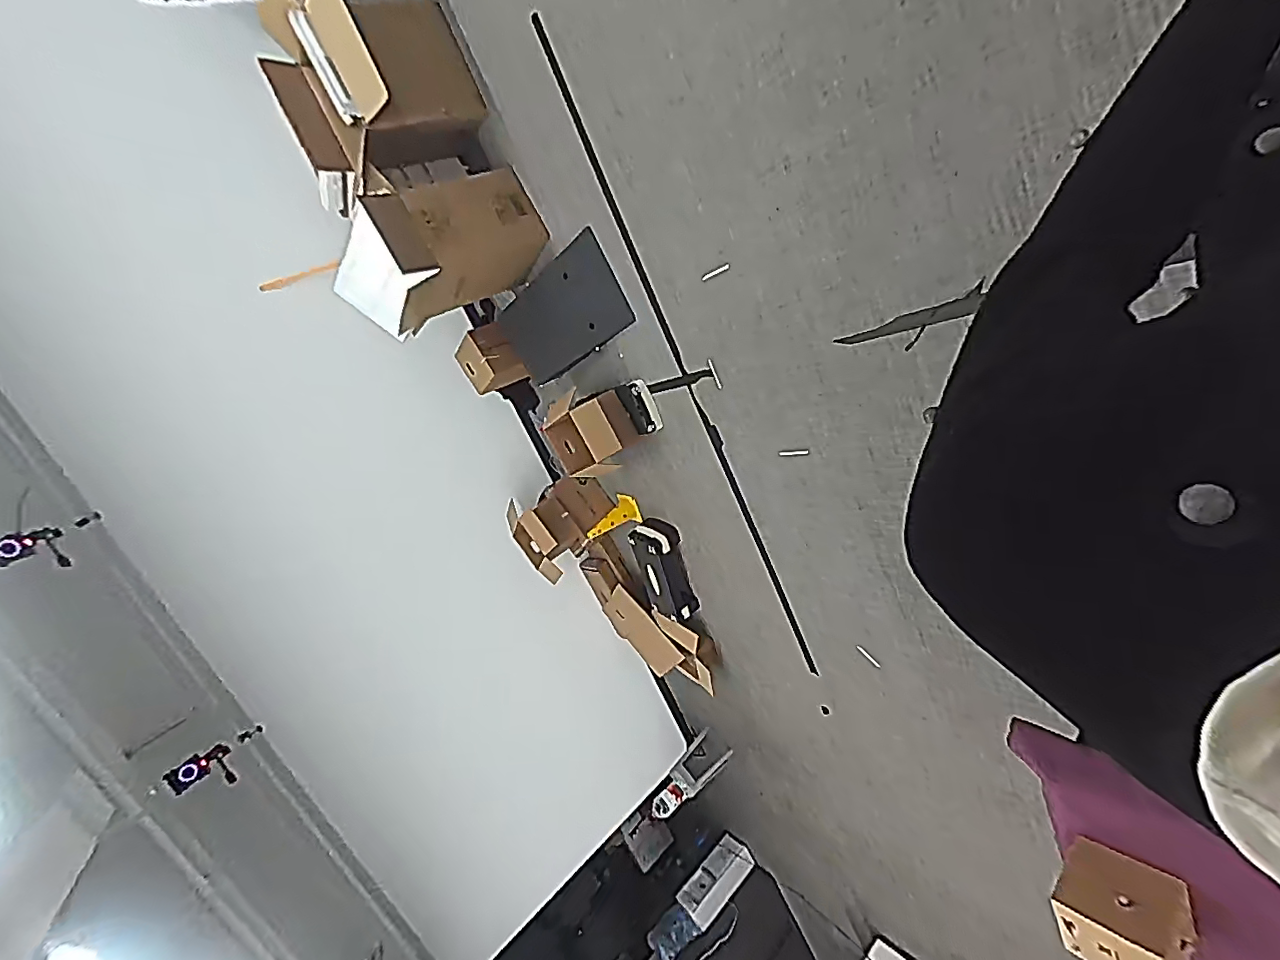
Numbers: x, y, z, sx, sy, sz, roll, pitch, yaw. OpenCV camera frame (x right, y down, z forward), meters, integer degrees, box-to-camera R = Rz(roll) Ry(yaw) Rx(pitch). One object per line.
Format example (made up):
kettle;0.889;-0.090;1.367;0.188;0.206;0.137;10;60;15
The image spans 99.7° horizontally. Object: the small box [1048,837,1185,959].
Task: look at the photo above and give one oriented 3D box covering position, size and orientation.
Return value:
small box;0.975;0.882;1.102;0.179;0.176;0.168;0;118;55
